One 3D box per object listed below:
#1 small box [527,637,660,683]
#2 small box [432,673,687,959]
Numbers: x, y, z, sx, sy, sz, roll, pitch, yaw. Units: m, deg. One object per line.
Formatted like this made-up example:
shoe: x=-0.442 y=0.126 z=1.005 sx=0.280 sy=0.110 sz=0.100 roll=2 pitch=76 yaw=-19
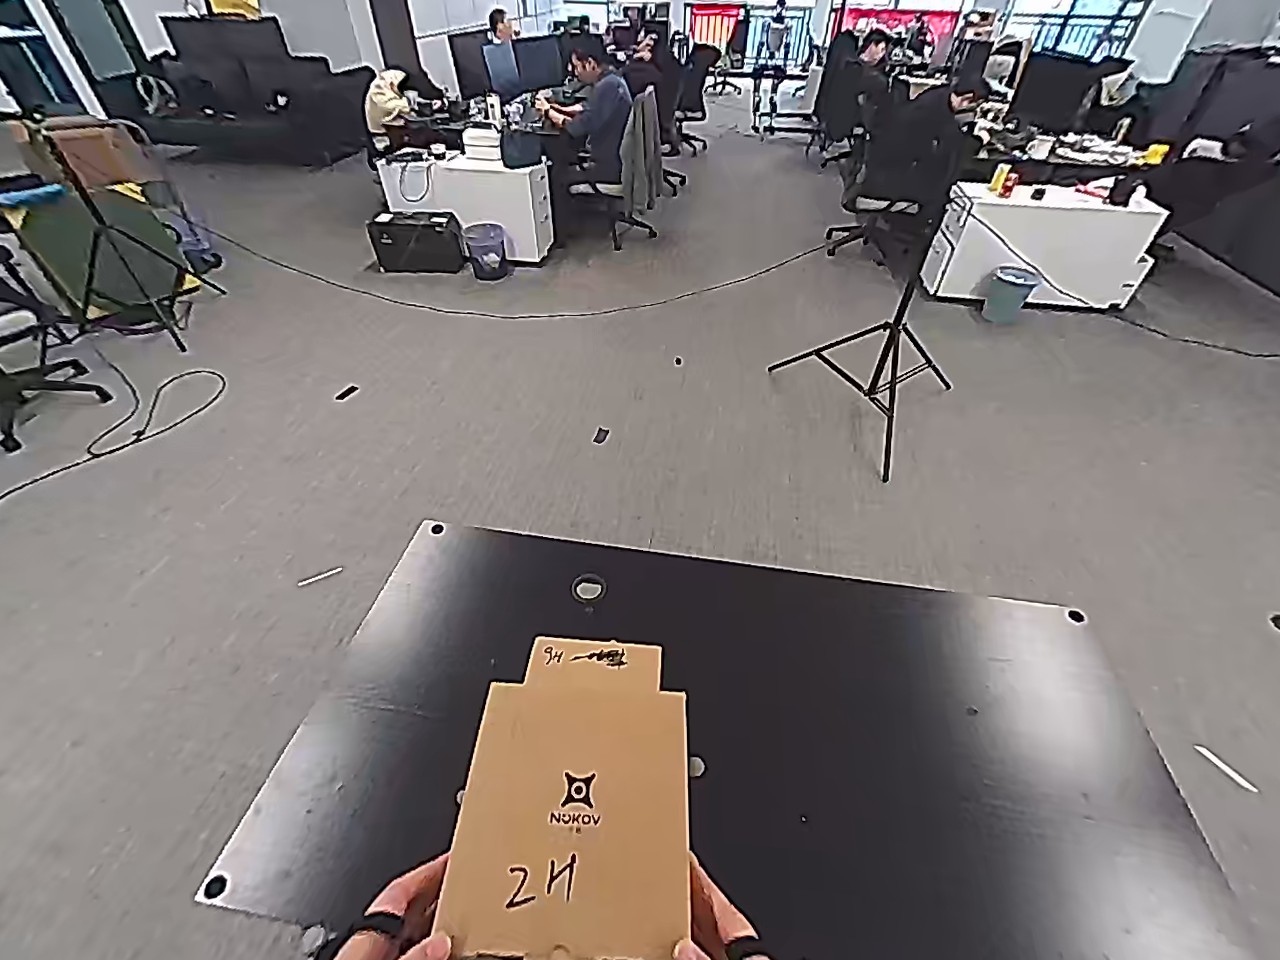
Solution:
small box: x=-0.061 y=0.327 z=0.693 sx=0.168 sy=0.176 sz=0.179 roll=3 pitch=43 yaw=3
small box: x=-0.050 y=0.288 z=0.455 sx=0.168 sy=0.176 sz=0.179 roll=2 pitch=43 yaw=1
